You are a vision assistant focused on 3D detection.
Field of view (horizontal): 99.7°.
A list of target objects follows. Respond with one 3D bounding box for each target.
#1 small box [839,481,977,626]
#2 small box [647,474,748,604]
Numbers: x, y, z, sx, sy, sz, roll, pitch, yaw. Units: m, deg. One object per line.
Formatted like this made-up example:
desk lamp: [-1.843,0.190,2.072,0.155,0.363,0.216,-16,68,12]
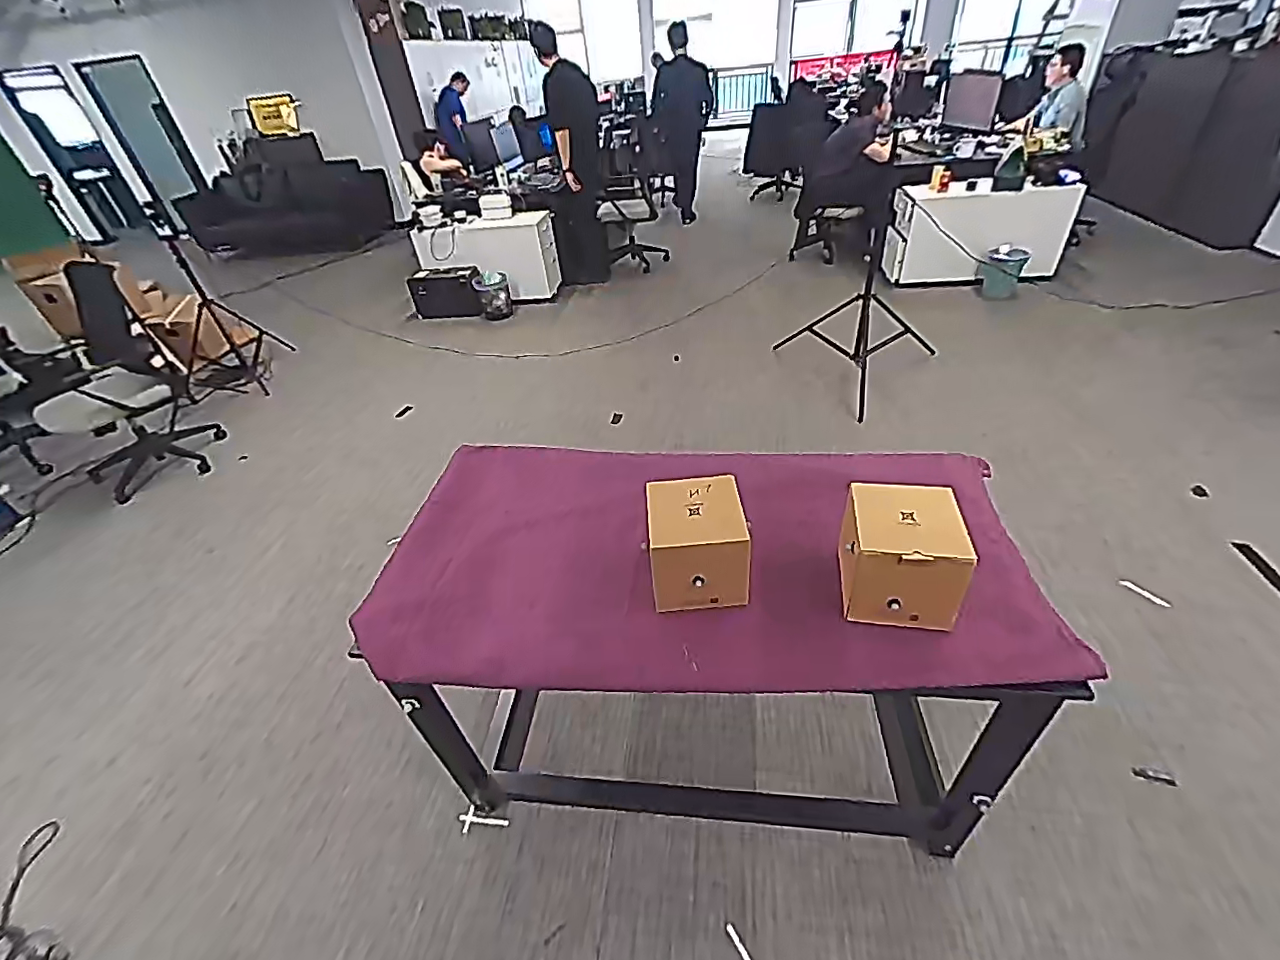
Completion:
small box: [0.443,0.122,0.926,0.168,0.176,0.179,3,38,13]
small box: [0.103,0.113,0.992,0.168,0.176,0.179,-5,38,2]
